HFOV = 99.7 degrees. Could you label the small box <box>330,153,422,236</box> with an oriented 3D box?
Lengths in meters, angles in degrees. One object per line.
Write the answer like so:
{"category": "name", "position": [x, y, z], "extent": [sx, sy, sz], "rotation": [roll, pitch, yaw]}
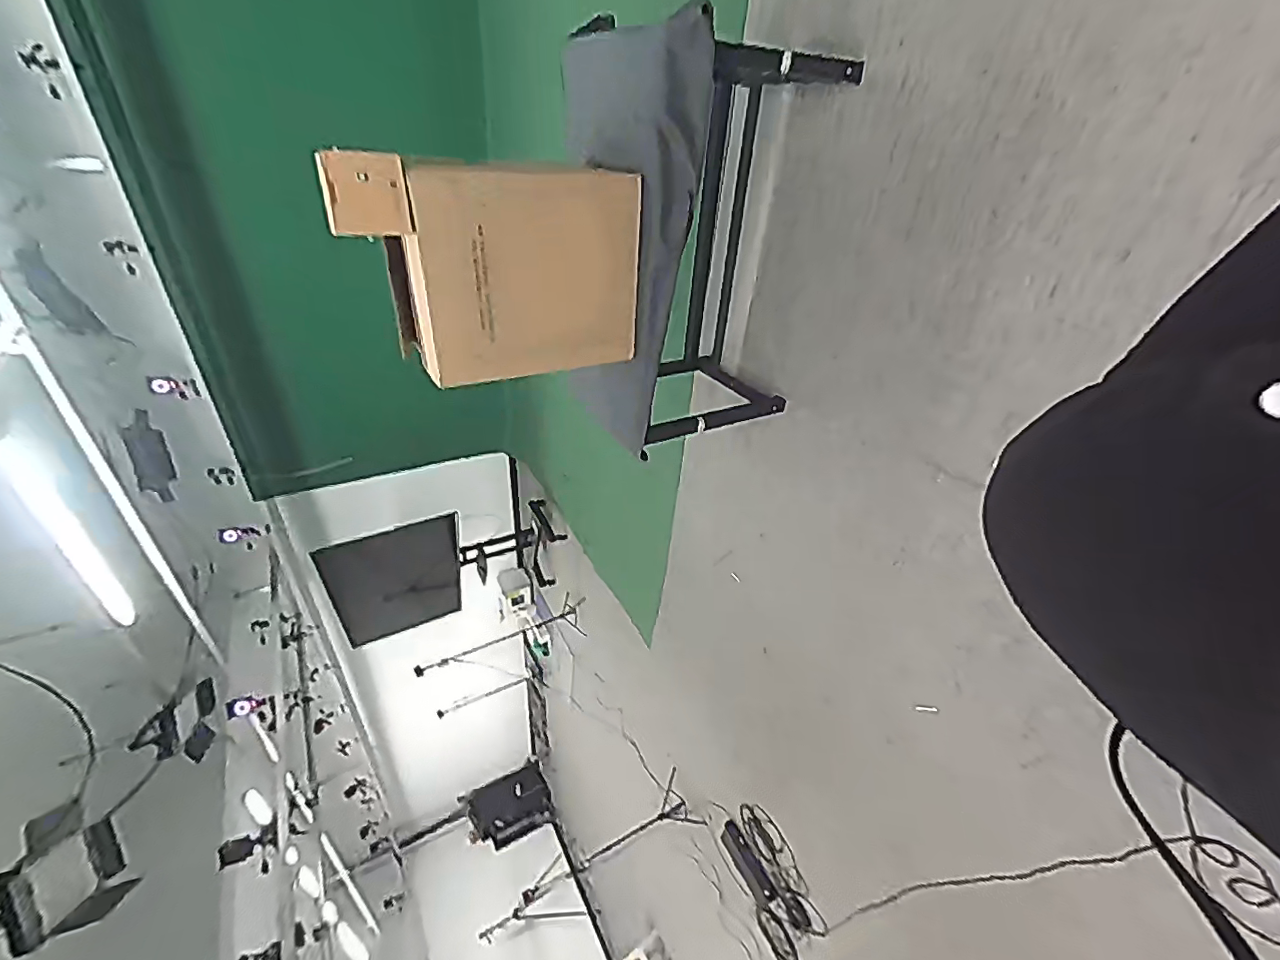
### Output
{"category": "small box", "position": [-0.626, -0.678, 1.292], "extent": [0.179, 0.176, 0.168], "rotation": [40, 134, 52]}
